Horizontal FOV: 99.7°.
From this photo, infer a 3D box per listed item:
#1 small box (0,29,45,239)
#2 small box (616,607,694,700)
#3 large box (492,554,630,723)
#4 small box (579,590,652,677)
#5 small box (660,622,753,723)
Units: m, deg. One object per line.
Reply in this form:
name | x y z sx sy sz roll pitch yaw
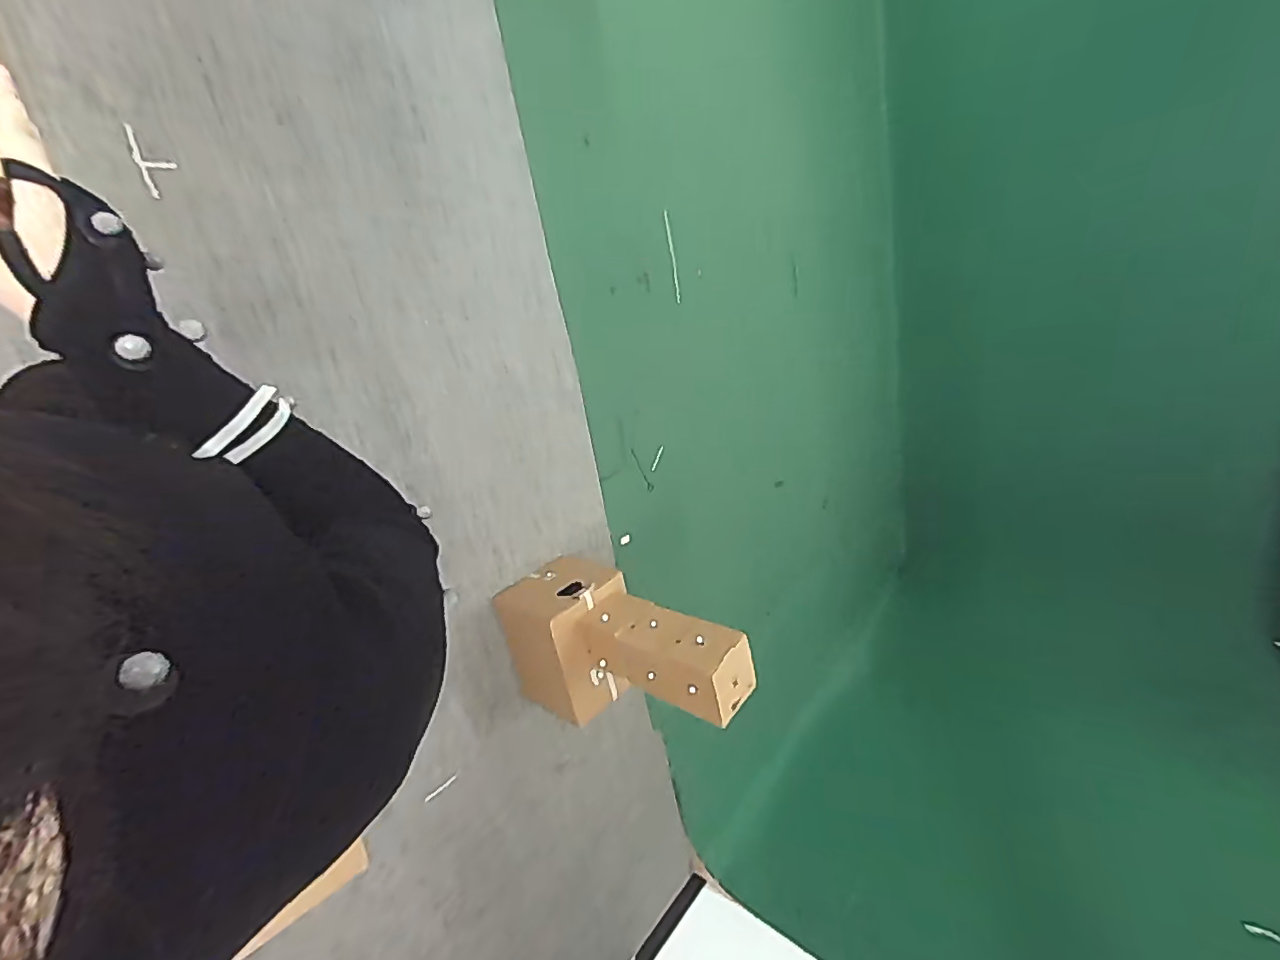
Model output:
small box | -0.471 -0.247 0.295 0.168 0.176 0.179 -13 103 -42
small box | 0.054 0.480 1.535 0.168 0.176 0.179 -35 120 -39
large box | -0.242 0.513 1.822 0.320 0.320 0.408 -29 116 -41
small box | -0.067 0.460 1.645 0.179 0.176 0.168 -31 117 -42
small box | 0.172 0.493 1.422 0.168 0.176 0.179 -32 117 -40
